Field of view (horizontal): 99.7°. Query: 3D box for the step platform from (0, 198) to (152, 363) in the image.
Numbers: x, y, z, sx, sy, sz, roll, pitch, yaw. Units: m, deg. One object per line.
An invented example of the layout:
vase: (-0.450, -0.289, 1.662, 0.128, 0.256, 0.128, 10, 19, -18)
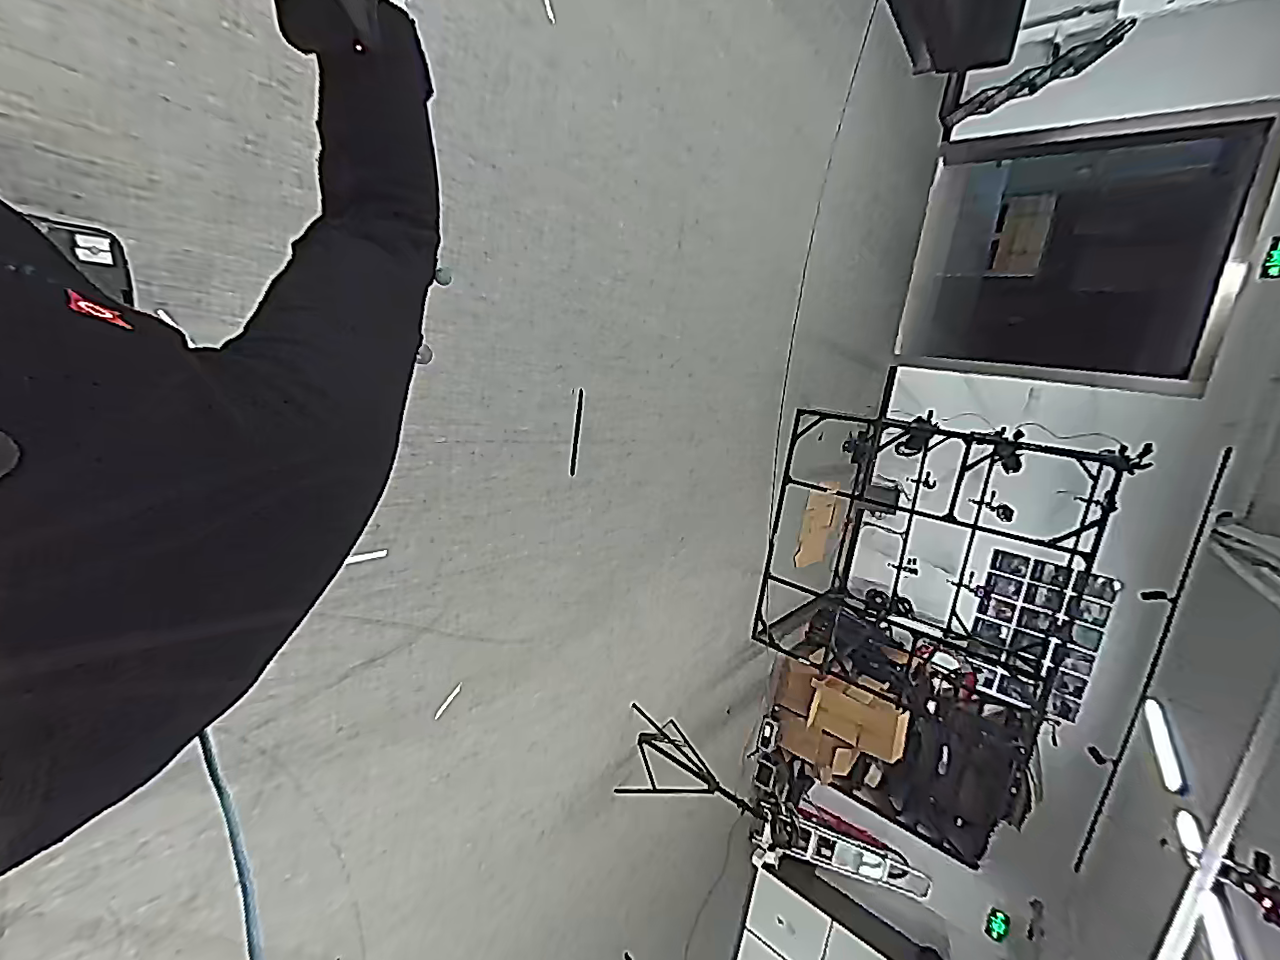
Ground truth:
step platform: (-1.277, -0.364, 0.906, 0.684, 0.204, 0.286, -10, 111, -52)
